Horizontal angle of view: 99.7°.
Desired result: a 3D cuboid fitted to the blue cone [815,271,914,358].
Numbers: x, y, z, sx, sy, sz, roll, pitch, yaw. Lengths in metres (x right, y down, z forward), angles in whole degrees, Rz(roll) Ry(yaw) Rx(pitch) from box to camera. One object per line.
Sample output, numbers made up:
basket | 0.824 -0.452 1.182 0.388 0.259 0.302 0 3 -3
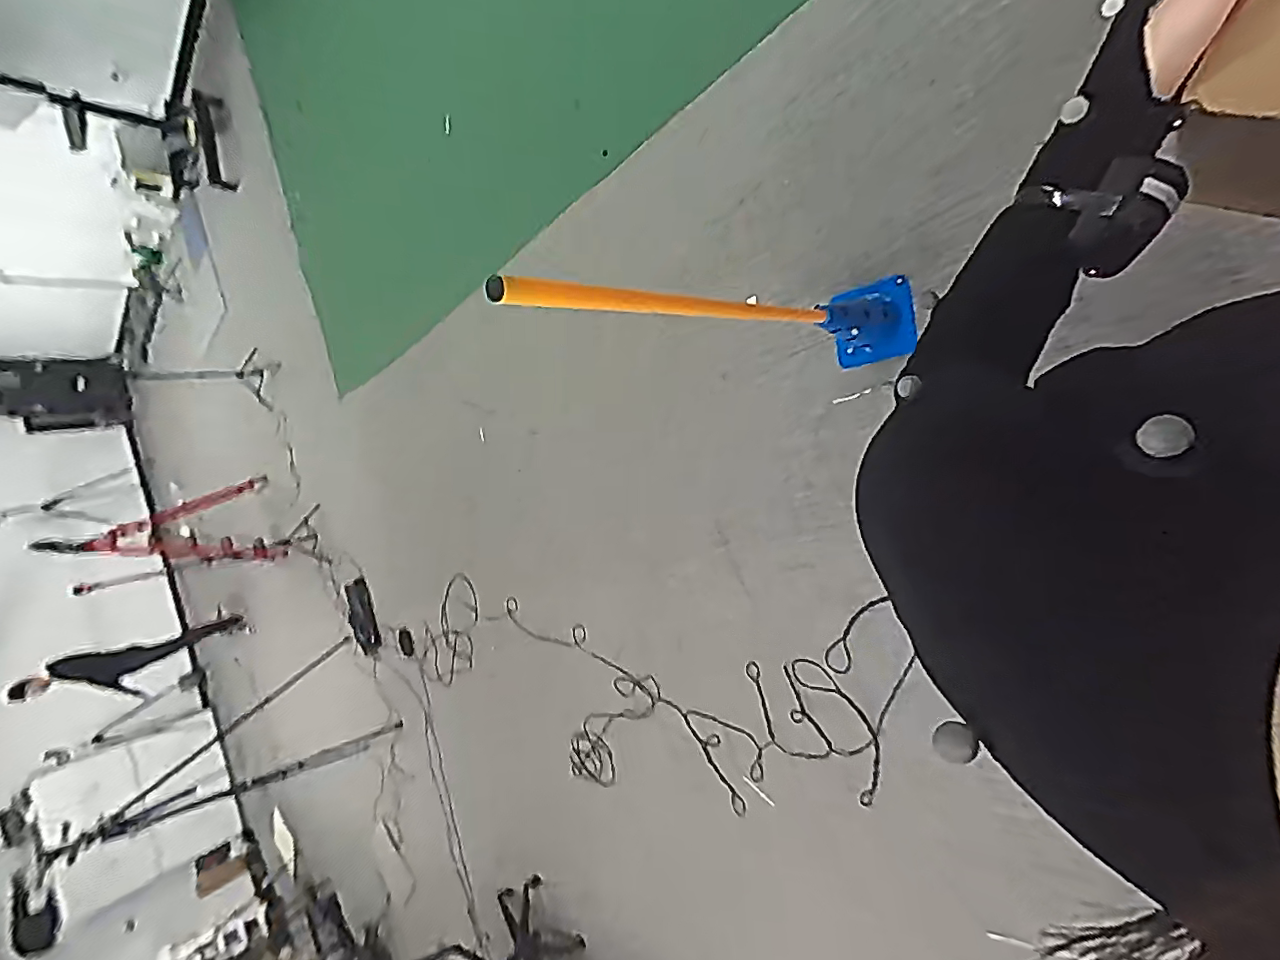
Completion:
blue cone | 0.503 -0.397 1.279 0.193 0.380 0.192 -6 95 40

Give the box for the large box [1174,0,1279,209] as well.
large box | 0.622 -0.316 0.282 0.408 0.320 0.320 34 122 33
